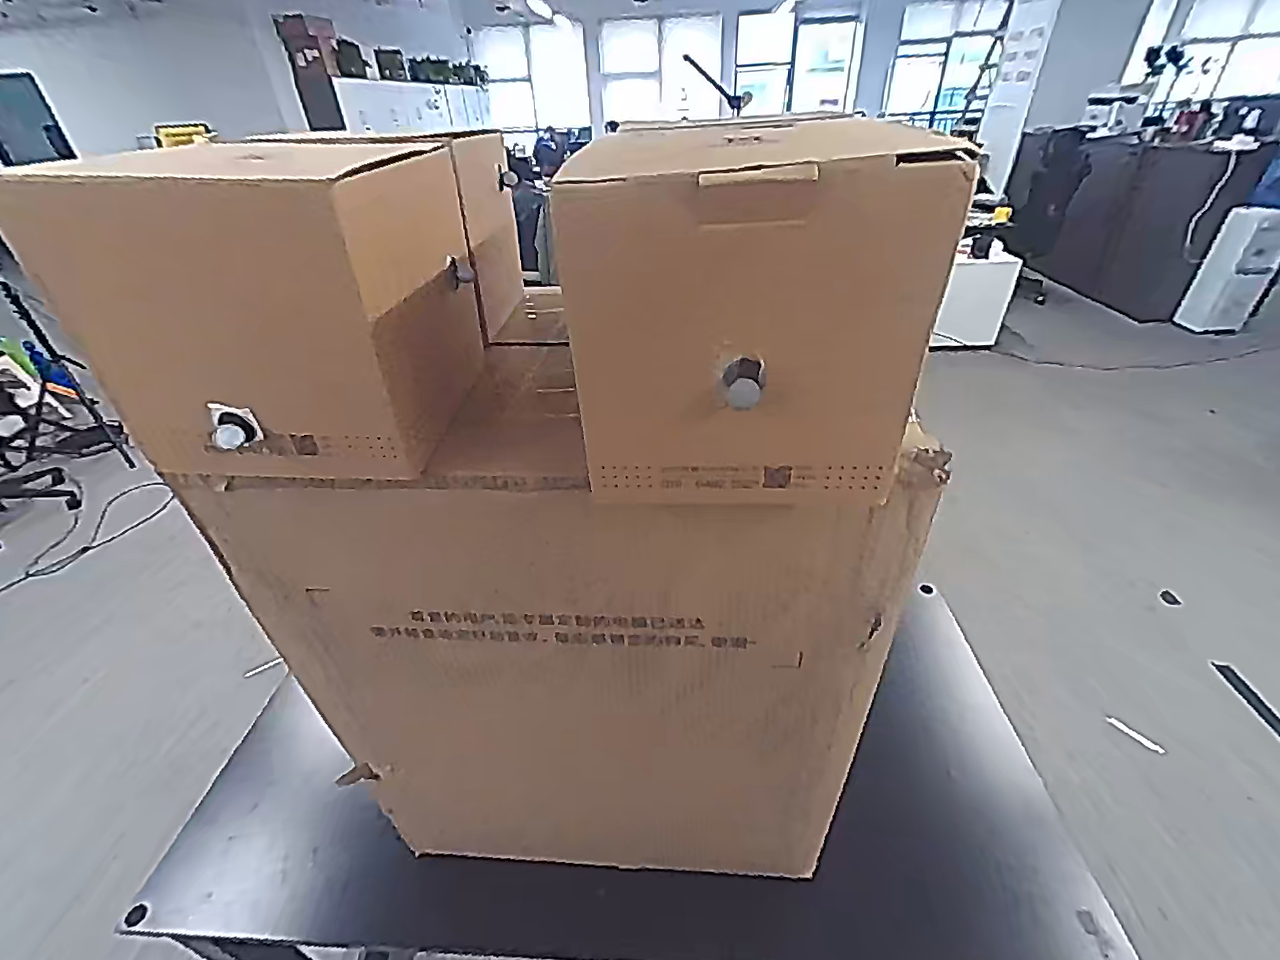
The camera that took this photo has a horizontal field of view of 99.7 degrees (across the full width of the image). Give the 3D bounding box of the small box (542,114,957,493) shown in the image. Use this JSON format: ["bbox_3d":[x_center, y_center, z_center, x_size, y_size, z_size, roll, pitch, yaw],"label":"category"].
[{"bbox_3d":[0.053,-0.105,0.323,0.168,0.176,0.179,0,37,6],"label":"small box"}]

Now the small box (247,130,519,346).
[{"bbox_3d":[-0.223,-0.240,0.530,0.168,0.176,0.179,-1,33,2],"label":"small box"}]
